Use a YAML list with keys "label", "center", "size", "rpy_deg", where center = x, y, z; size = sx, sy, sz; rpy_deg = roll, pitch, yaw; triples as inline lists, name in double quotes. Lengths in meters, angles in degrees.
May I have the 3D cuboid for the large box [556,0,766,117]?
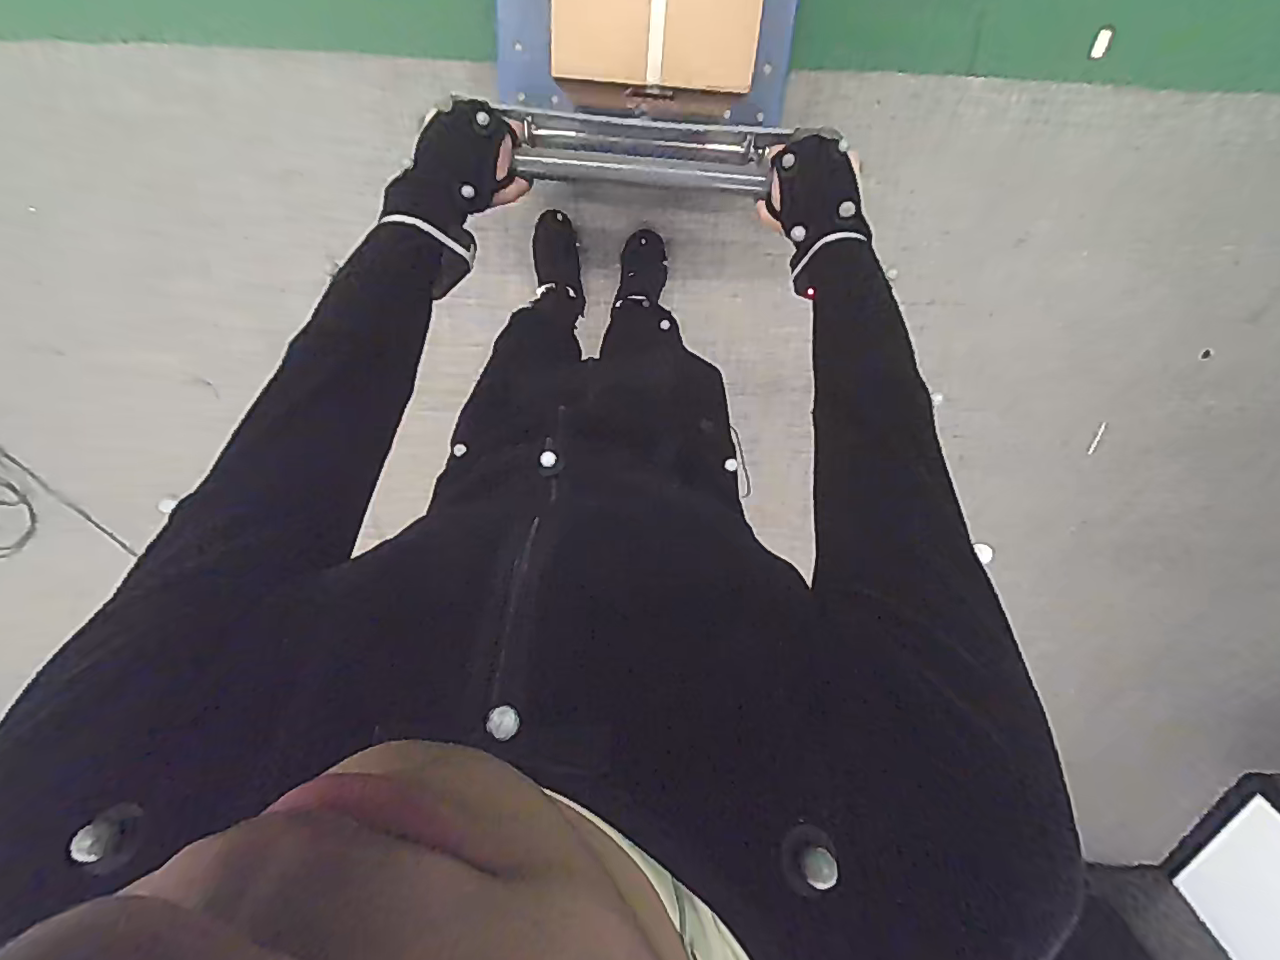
- label: "large box"
  center: [0.038, -0.856, 0.883]
  size: [0.320, 0.320, 0.408]
  rpy_deg: [4, 118, -2]
